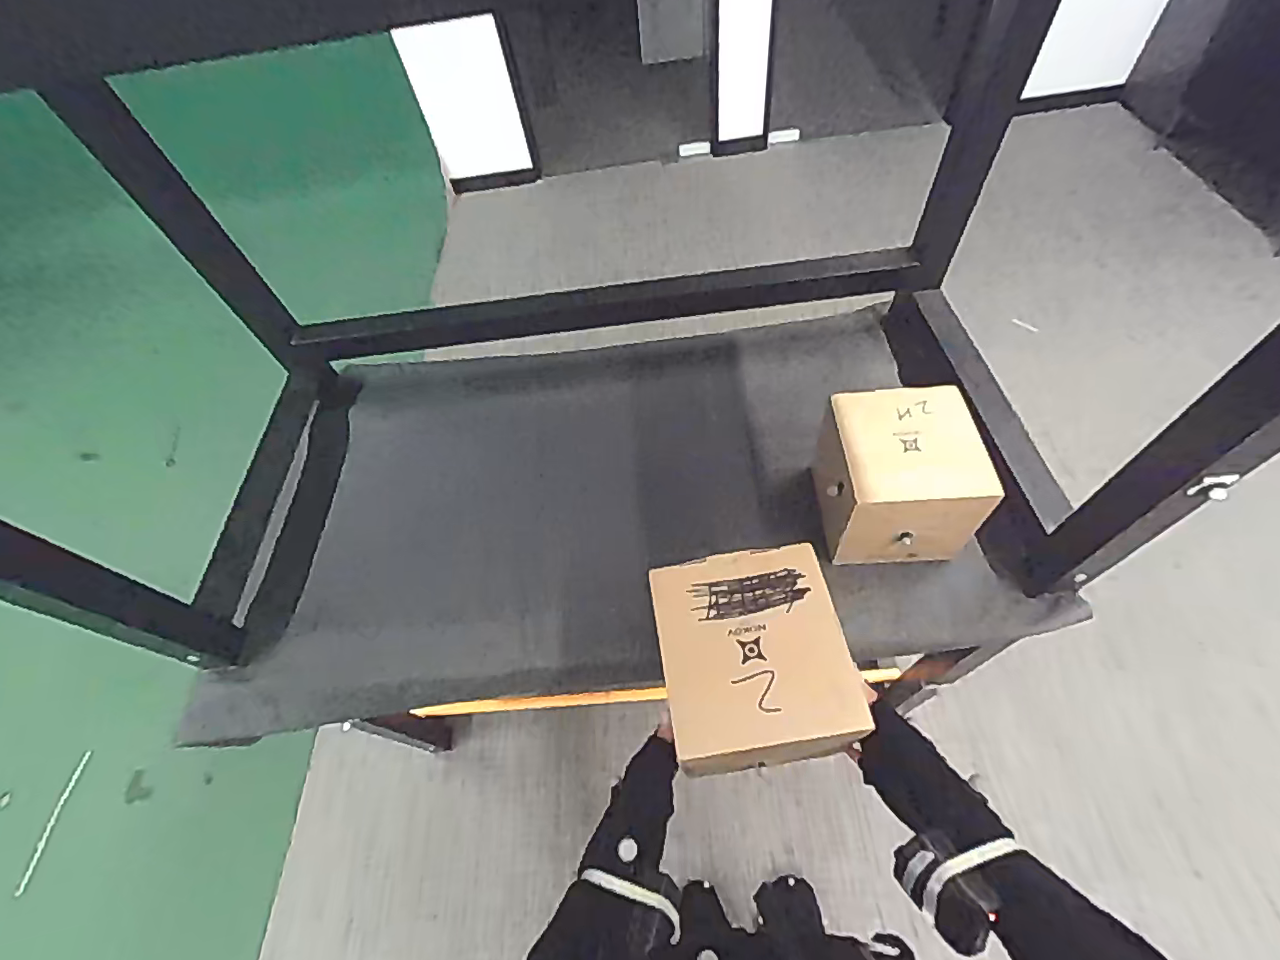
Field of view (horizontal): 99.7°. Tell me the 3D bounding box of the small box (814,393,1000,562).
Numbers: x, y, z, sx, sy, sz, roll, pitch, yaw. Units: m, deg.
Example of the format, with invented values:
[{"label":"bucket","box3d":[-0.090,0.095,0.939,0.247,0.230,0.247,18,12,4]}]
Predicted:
[{"label":"small box","box3d":[0.344,0.005,0.738,0.168,0.176,0.179,-3,55,5]}]
